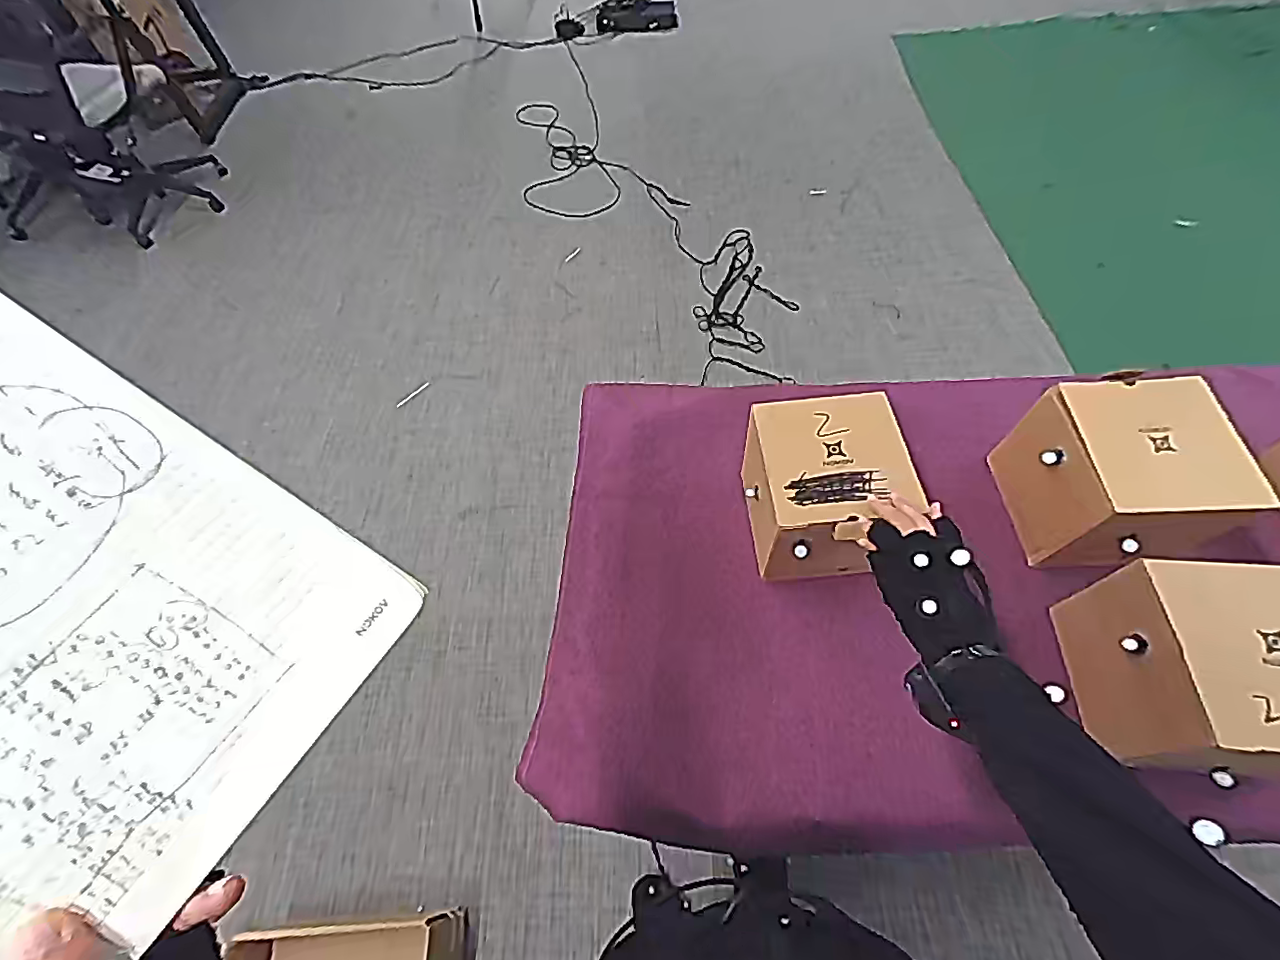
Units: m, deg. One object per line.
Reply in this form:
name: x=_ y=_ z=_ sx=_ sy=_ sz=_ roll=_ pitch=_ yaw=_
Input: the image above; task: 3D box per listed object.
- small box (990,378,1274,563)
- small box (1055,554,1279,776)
small box: x=0.581 y=-0.002 z=0.674 sx=0.168 sy=0.176 sz=0.179 roll=-3 pitch=59 yaw=4
small box: x=0.576 y=0.193 z=0.555 sx=0.168 sy=0.176 sz=0.179 roll=2 pitch=59 yaw=7
